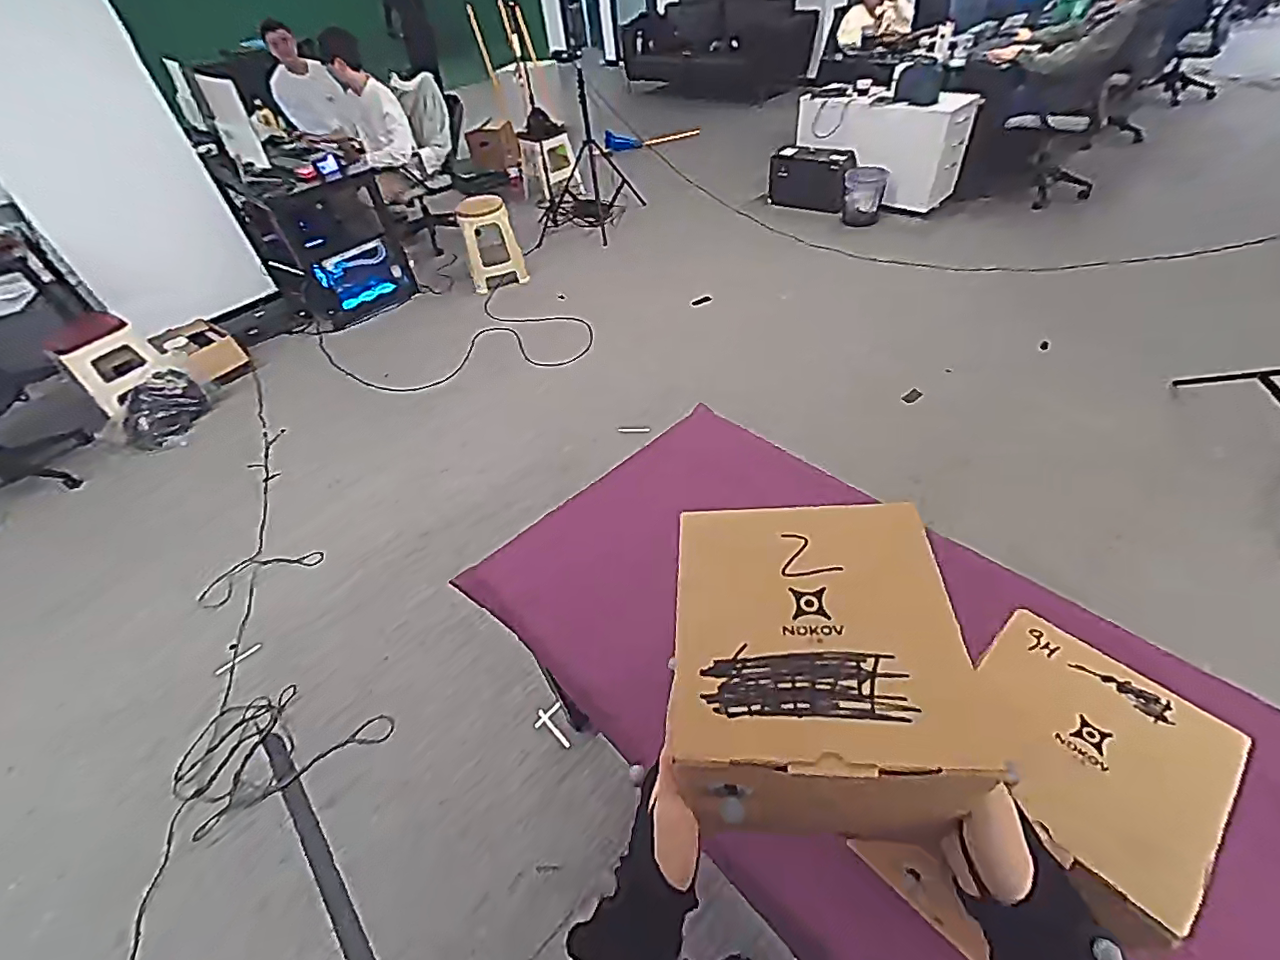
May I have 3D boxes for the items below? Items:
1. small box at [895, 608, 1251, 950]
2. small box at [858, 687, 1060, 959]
[{"bbox_3d":[0.347,0.256,0.468,0.179,0.176,0.168,-36,51,-26],"label":"small box"},{"bbox_3d":[0.358,0.372,0.584,0.179,0.176,0.168,-36,51,-26],"label":"small box"}]
